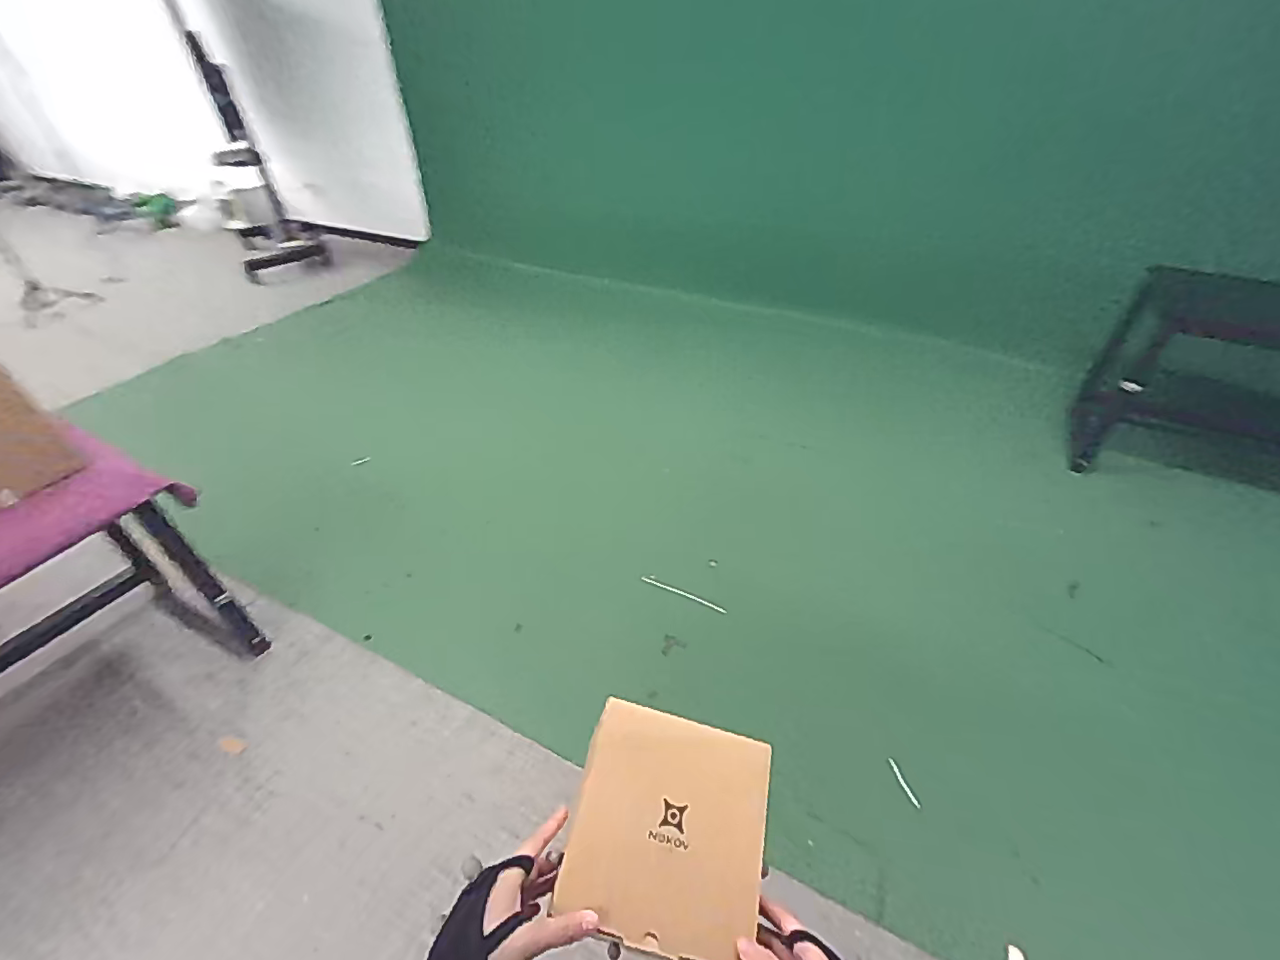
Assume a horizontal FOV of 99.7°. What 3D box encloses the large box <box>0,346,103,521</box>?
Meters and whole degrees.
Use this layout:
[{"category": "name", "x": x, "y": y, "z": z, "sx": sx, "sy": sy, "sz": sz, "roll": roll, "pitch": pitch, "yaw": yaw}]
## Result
[{"category": "large box", "x": -1.531, "y": -0.122, "z": 1.171, "sx": 0.408, "sy": 0.320, "sz": 0.320, "roll": 19, "pitch": 46, "yaw": 20}]
